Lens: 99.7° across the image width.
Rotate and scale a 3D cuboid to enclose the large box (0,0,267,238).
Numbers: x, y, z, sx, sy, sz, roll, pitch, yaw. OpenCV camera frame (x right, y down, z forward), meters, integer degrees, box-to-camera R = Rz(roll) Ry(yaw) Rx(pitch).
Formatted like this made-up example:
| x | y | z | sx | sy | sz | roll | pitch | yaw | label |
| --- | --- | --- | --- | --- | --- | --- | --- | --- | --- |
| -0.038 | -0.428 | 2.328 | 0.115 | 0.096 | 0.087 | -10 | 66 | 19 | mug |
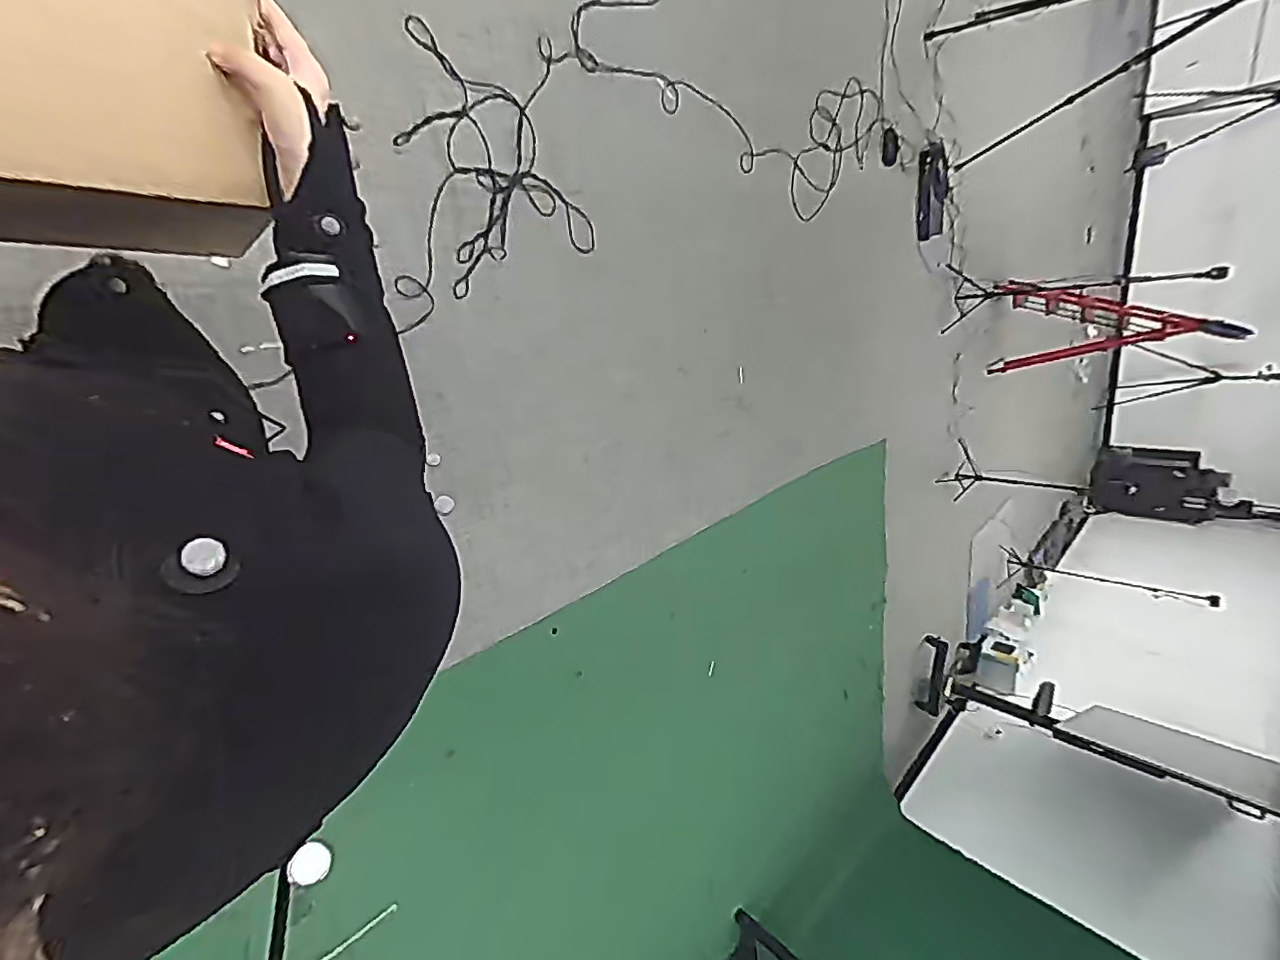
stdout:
| x | y | z | sx | sy | sz | roll | pitch | yaw | label |
| --- | --- | --- | --- | --- | --- | --- | --- | --- | --- |
| -0.544 | -0.365 | 0.381 | 0.408 | 0.320 | 0.320 | -13 | 109 | -37 | large box |
